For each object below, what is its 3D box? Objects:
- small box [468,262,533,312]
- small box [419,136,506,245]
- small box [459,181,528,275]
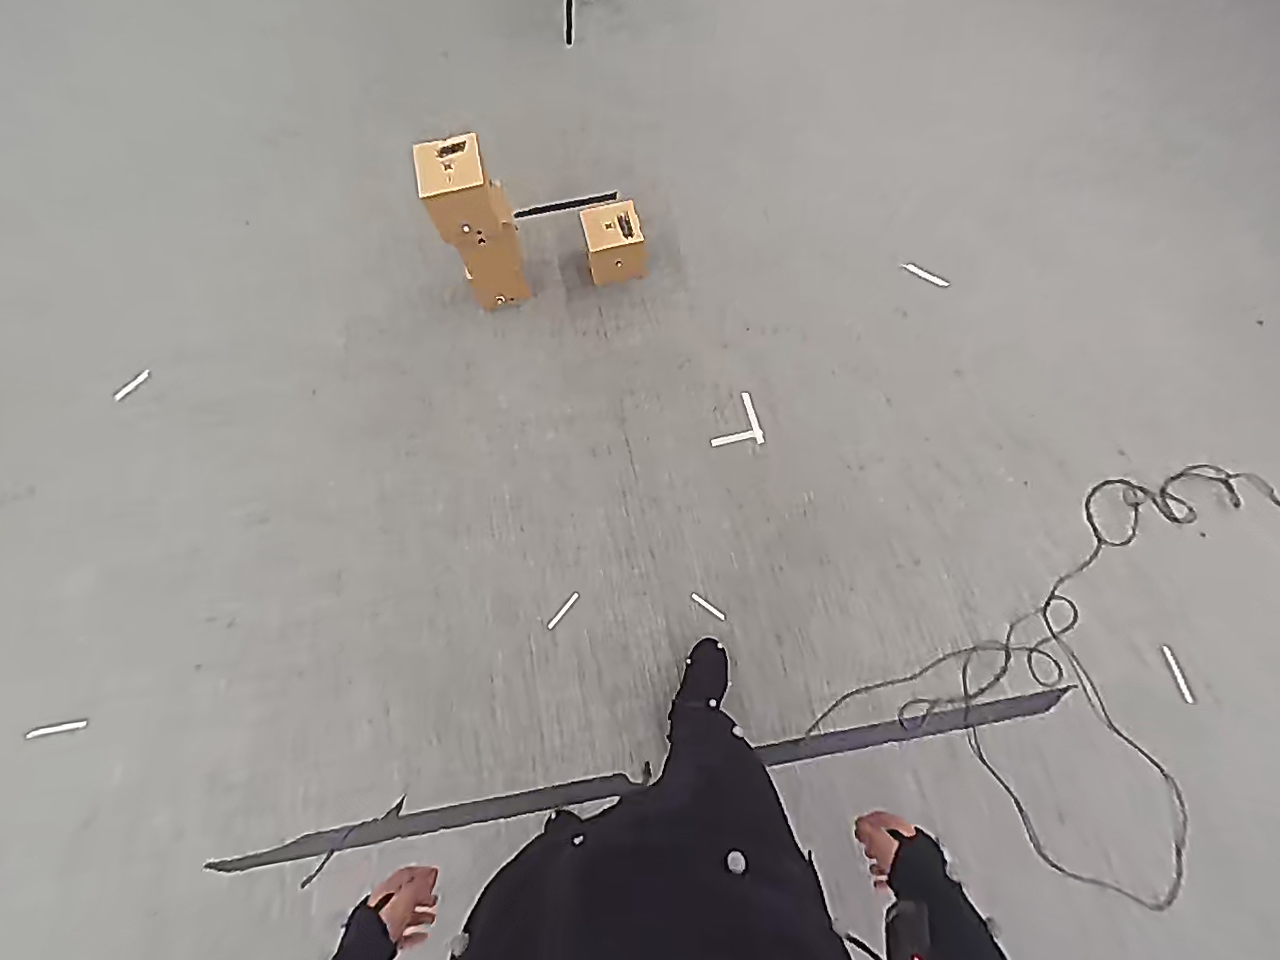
[{"bbox_3d":[-0.453,-0.678,1.745,0.168,0.176,0.179,-15,72,-2],"label":"small box"},{"bbox_3d":[-0.464,-0.758,1.426,0.168,0.176,0.179,-12,73,0],"label":"small box"},{"bbox_3d":[-0.447,-0.734,1.590,0.179,0.176,0.168,-16,72,-2],"label":"small box"}]
